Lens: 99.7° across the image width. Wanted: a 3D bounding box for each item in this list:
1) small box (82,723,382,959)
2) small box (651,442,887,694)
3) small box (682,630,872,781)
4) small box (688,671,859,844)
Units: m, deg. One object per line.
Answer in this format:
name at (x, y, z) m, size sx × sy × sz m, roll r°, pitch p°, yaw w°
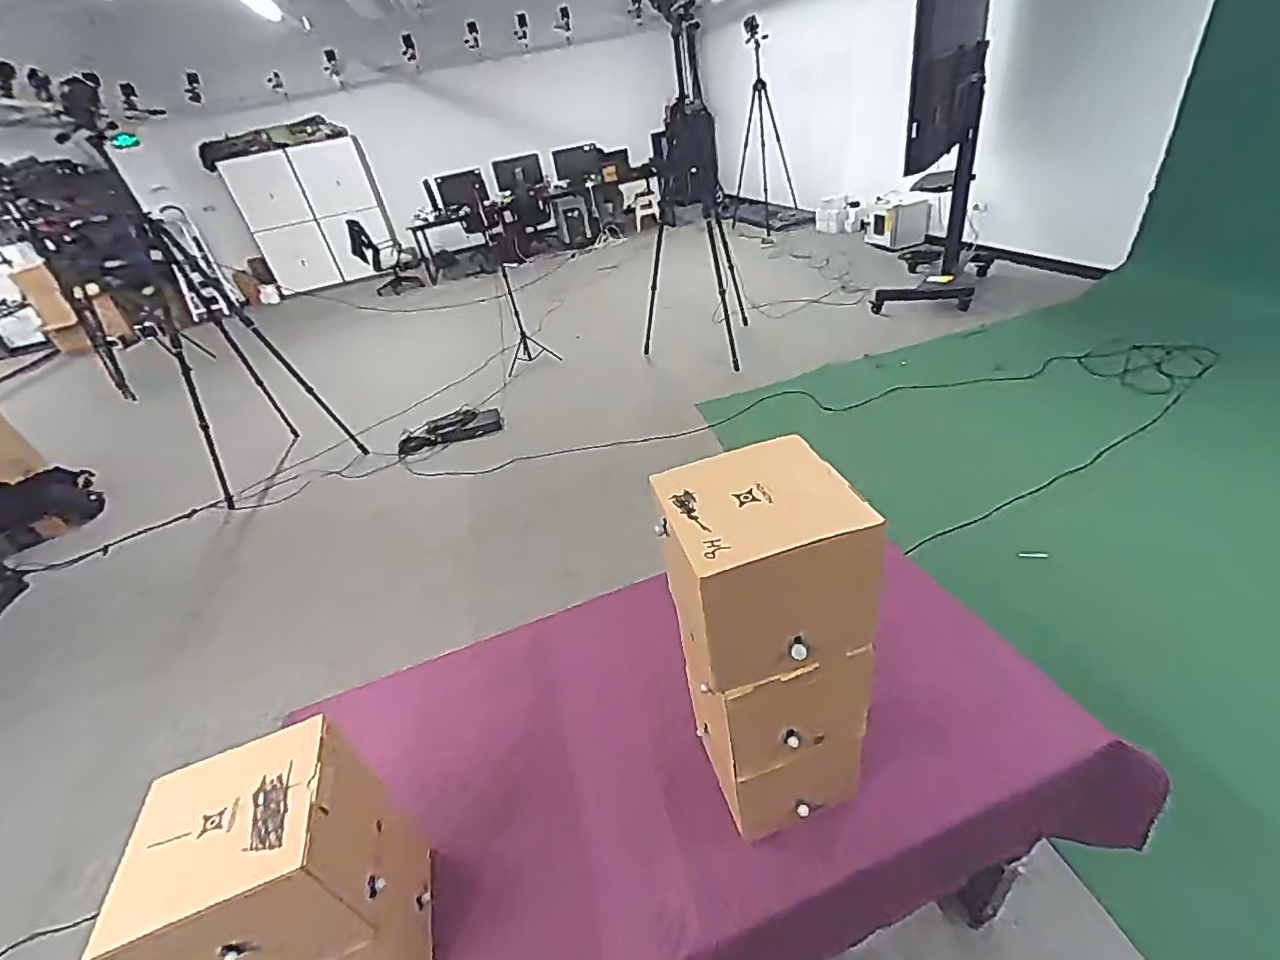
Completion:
small box at (-0.388, 0.398, 0.560) m, size 0.179 × 0.176 × 0.168 m, roll -20°, pitch 35°, yaw -12°
small box at (0.123, 0.088, 0.562) m, size 0.179 × 0.176 × 0.168 m, roll -15°, pitch 34°, yaw -6°
small box at (0.152, 0.220, 0.657) m, size 0.168 × 0.176 × 0.179 m, roll -17°, pitch 35°, yaw -8°
small box at (0.177, 0.353, 0.747) m, size 0.168 × 0.176 × 0.179 m, roll -17°, pitch 35°, yaw -7°
